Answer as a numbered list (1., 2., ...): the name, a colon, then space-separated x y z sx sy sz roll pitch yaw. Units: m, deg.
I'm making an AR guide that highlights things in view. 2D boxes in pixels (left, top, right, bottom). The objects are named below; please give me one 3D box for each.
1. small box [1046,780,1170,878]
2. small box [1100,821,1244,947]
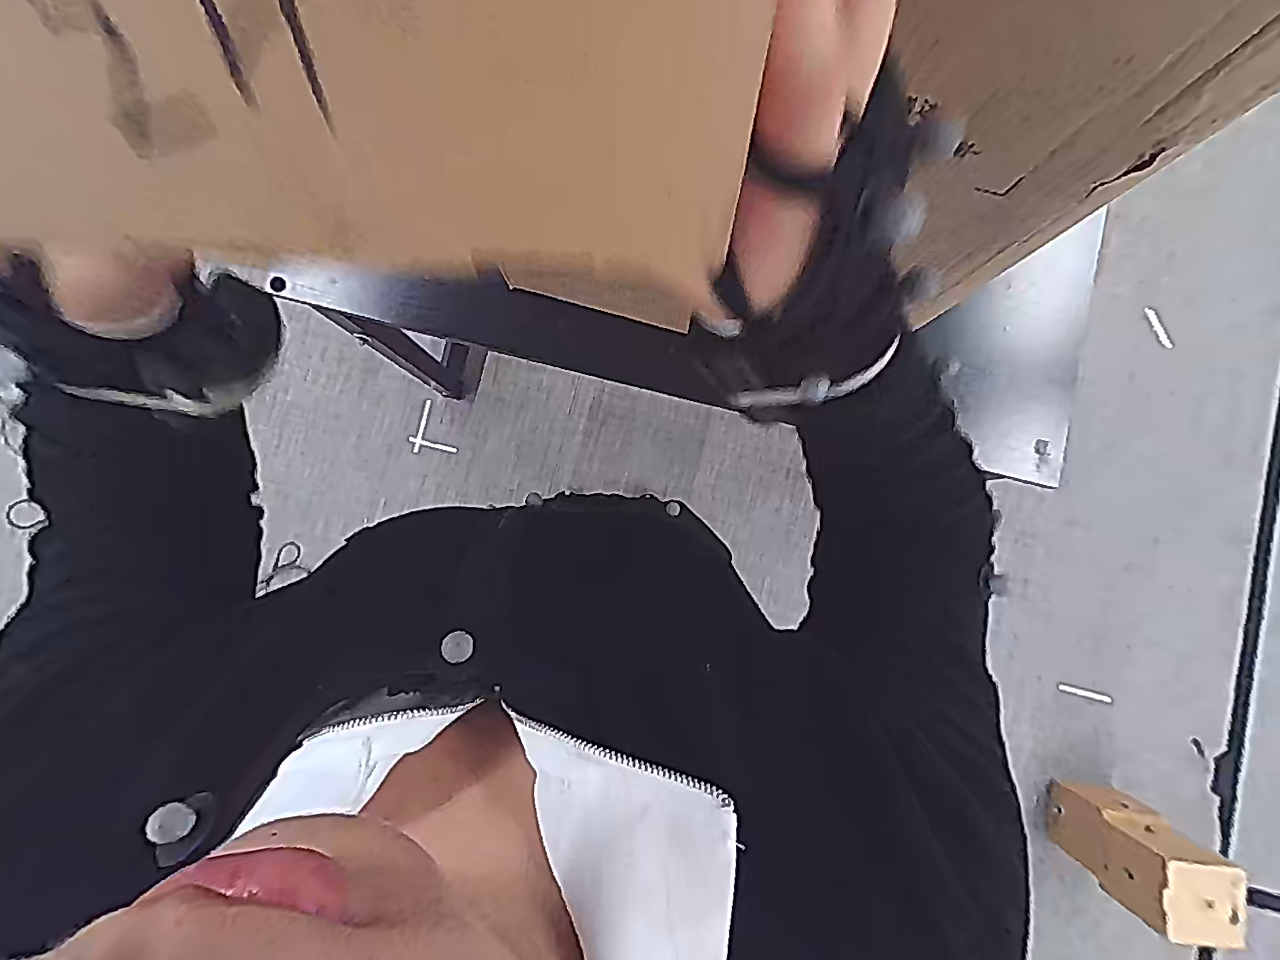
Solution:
1. small box: 1.211 0.910 1.407 0.179 0.176 0.168 8 85 0
2. small box: 1.210 0.915 1.242 0.179 0.176 0.168 7 85 -1
